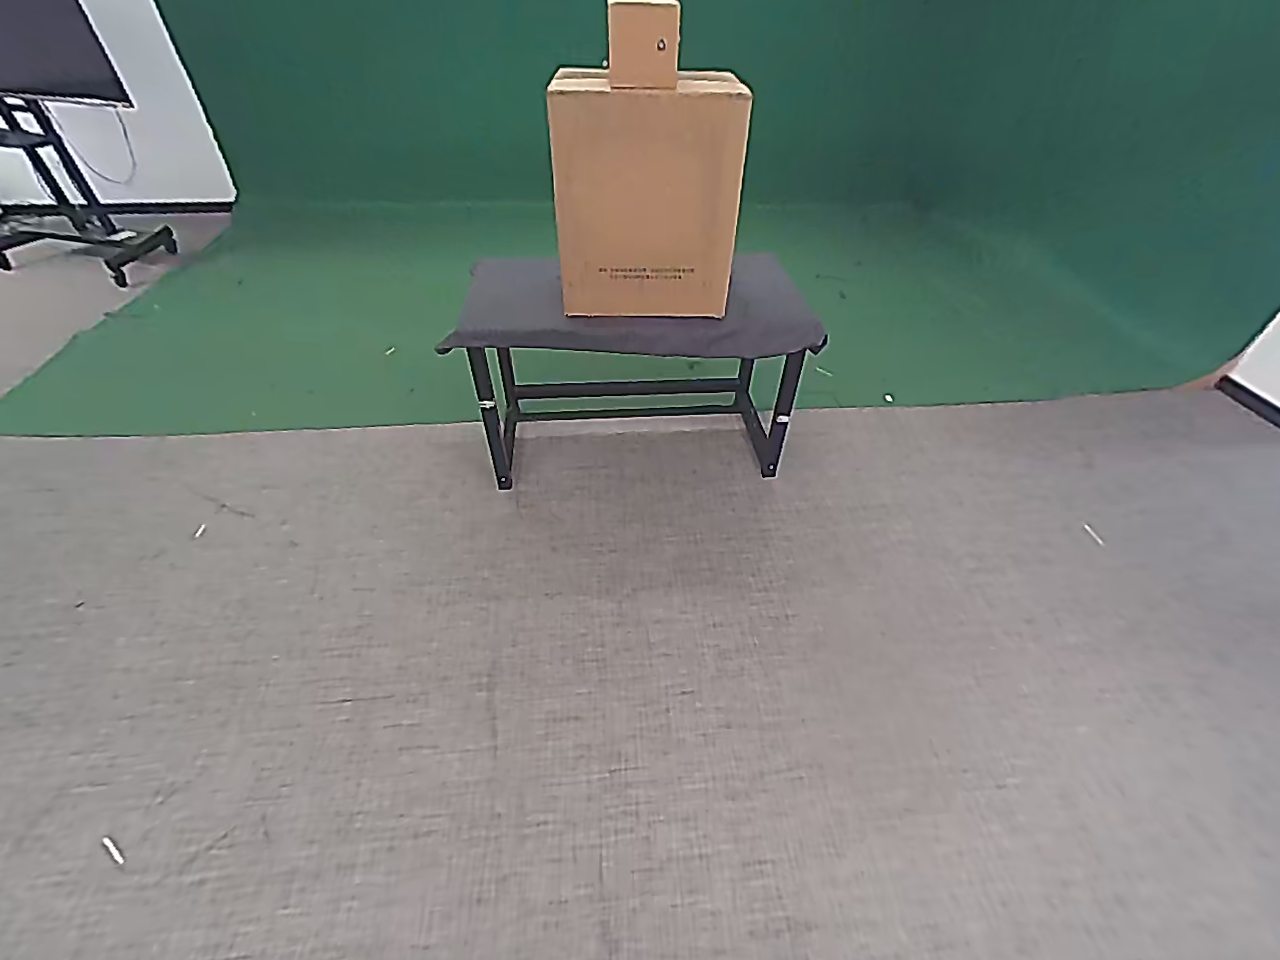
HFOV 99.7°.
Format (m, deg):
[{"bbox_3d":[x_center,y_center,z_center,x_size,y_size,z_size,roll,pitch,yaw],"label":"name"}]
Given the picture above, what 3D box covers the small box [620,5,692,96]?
[{"bbox_3d":[0.036,-1.123,1.414,0.179,0.176,0.168,-1,44,-1],"label":"small box"}]
